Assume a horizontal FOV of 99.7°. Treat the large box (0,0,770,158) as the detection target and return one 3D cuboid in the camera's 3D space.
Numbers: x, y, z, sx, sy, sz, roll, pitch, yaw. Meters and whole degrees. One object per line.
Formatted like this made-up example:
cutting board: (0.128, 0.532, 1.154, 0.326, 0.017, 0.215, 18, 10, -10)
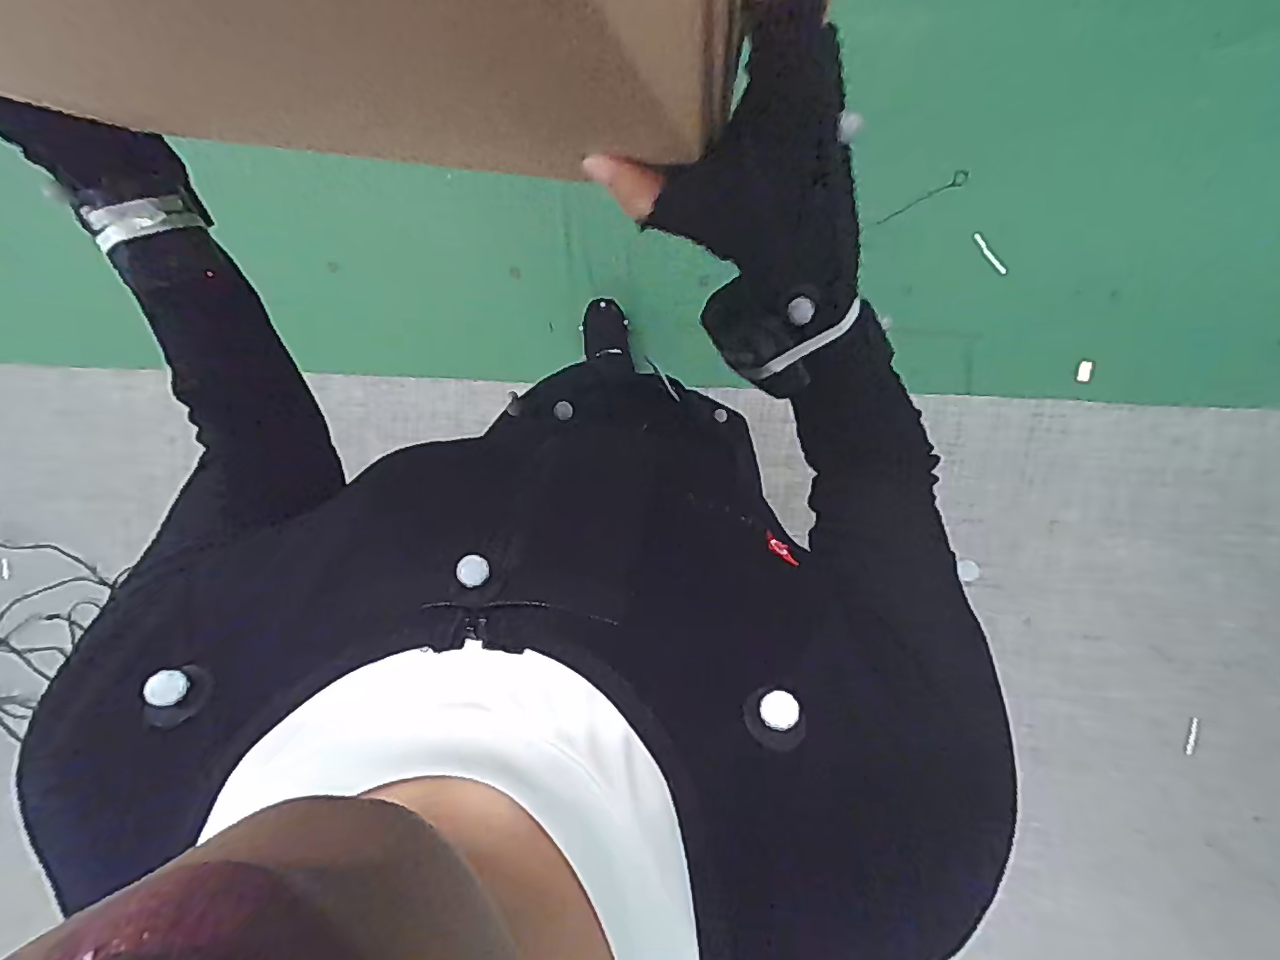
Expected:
large box: (-0.152, -0.303, 0.132, 0.408, 0.320, 0.320, 12, 110, 11)
